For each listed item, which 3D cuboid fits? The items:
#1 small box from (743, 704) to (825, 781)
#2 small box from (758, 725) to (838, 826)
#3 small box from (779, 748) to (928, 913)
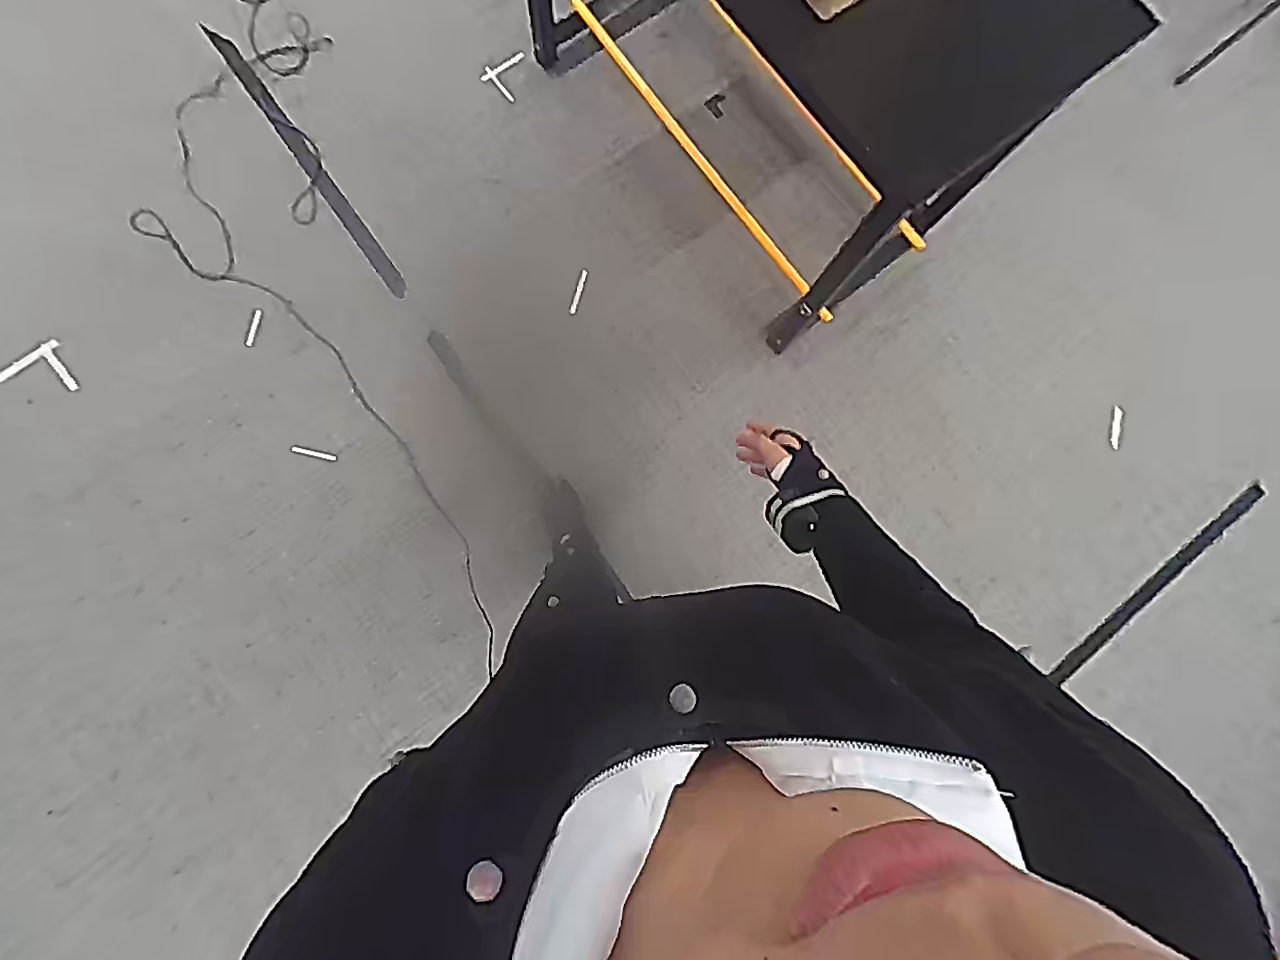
[{"bbox_3d":[0.387,0.702,1.366,0.179,0.176,0.168,-40,86,-7],"label":"small box"},{"bbox_3d":[0.394,0.685,1.203,0.168,0.176,0.179,-37,86,-7],"label":"small box"},{"bbox_3d":[0.400,0.658,1.042,0.168,0.176,0.179,-31,84,-8],"label":"small box"}]
